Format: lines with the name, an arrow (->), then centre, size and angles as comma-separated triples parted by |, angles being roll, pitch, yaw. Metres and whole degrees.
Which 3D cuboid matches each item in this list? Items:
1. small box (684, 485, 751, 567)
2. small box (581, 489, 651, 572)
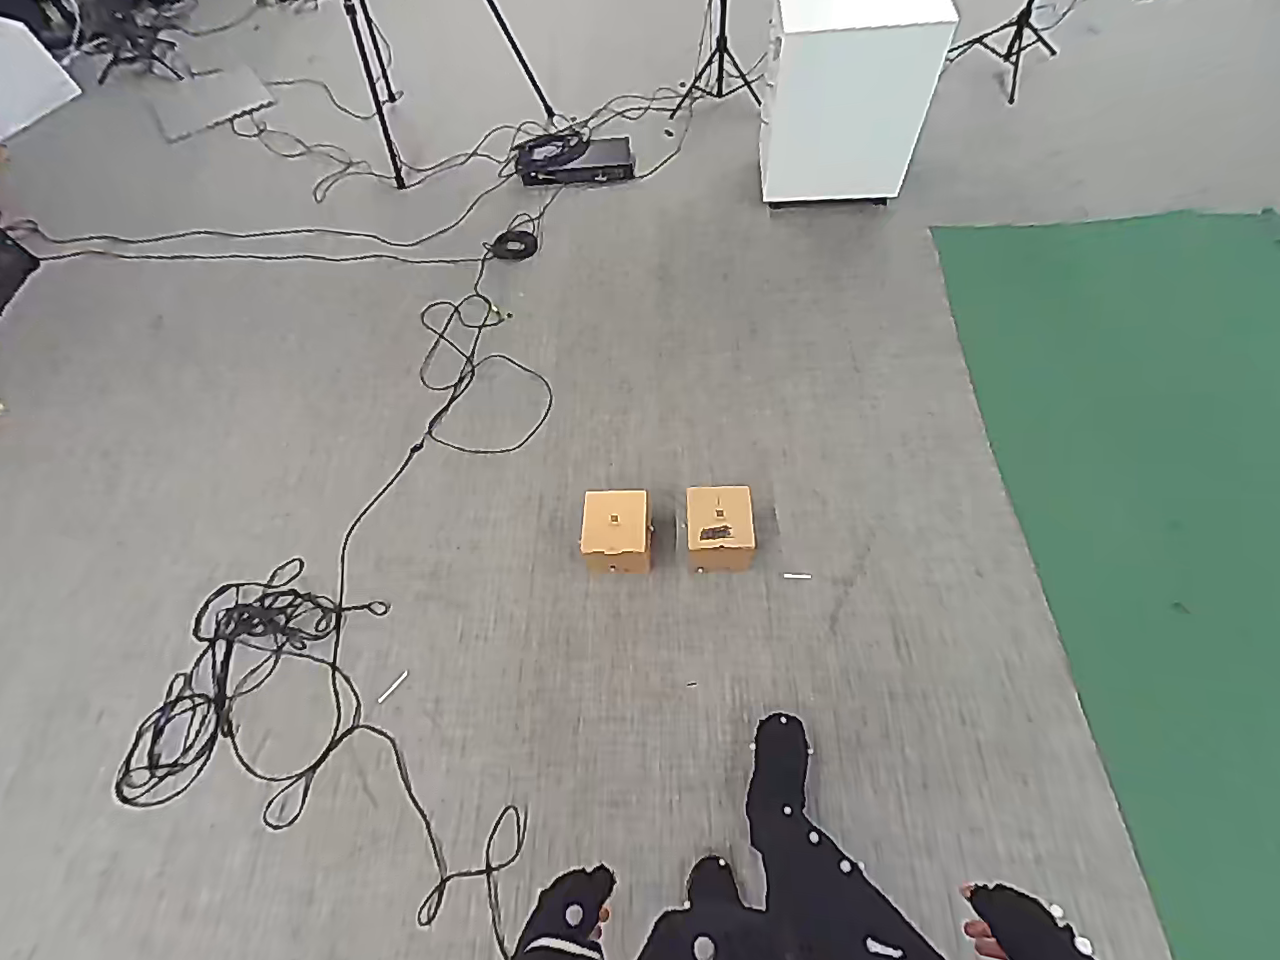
small box -> 0.205, 0.129, 1.449 | 0.168, 0.176, 0.179 | -2, 60, 5
small box -> -0.060, 0.139, 1.472 | 0.168, 0.176, 0.179 | -1, 61, 5
